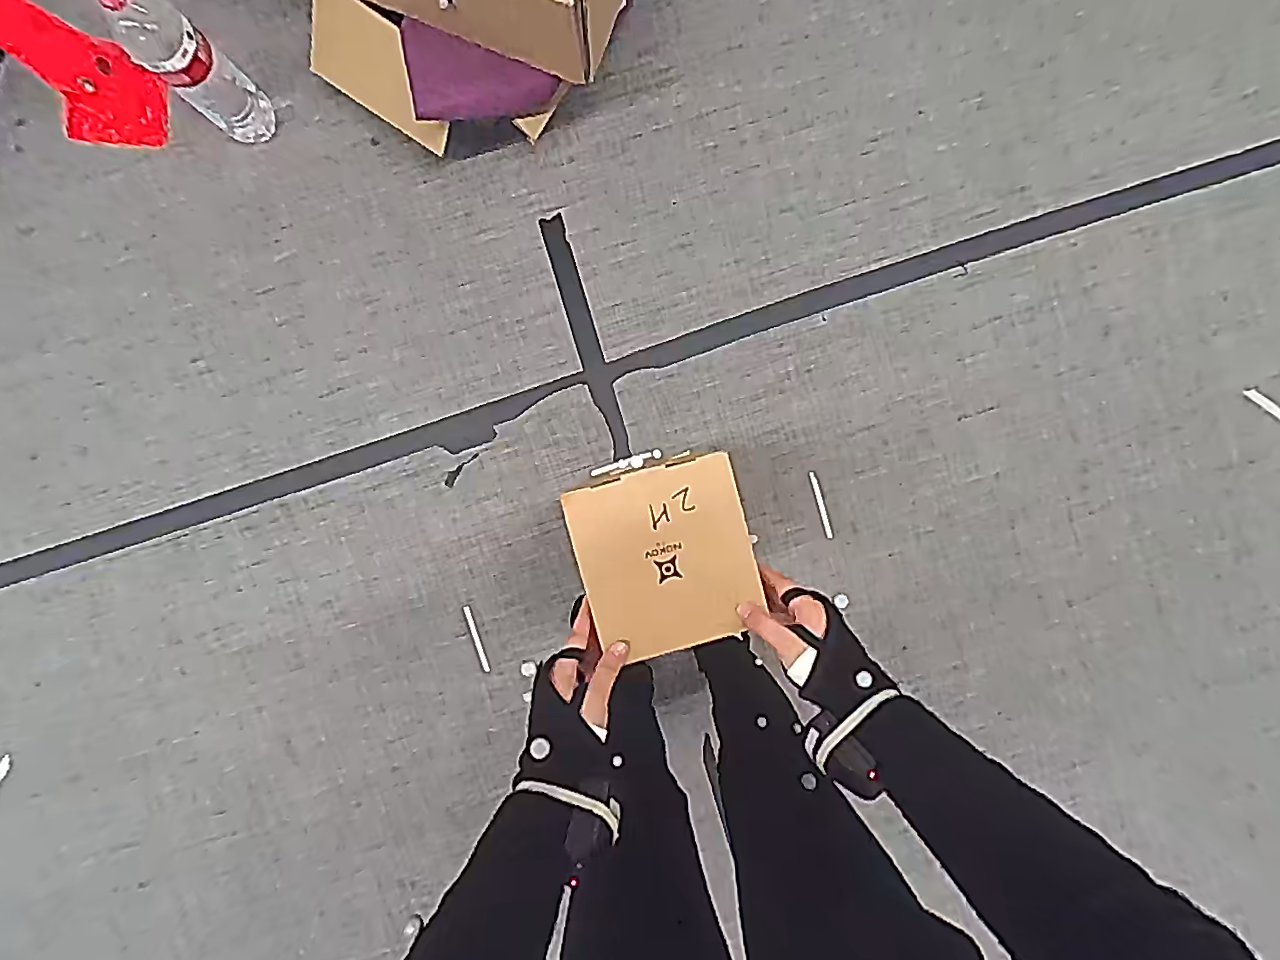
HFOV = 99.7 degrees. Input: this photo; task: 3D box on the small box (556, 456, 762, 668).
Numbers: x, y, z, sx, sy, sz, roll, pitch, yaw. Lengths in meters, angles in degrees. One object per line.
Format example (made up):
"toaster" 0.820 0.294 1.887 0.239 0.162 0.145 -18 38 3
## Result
"small box" 0.017 0.076 0.597 0.168 0.176 0.179 -16 92 -2
